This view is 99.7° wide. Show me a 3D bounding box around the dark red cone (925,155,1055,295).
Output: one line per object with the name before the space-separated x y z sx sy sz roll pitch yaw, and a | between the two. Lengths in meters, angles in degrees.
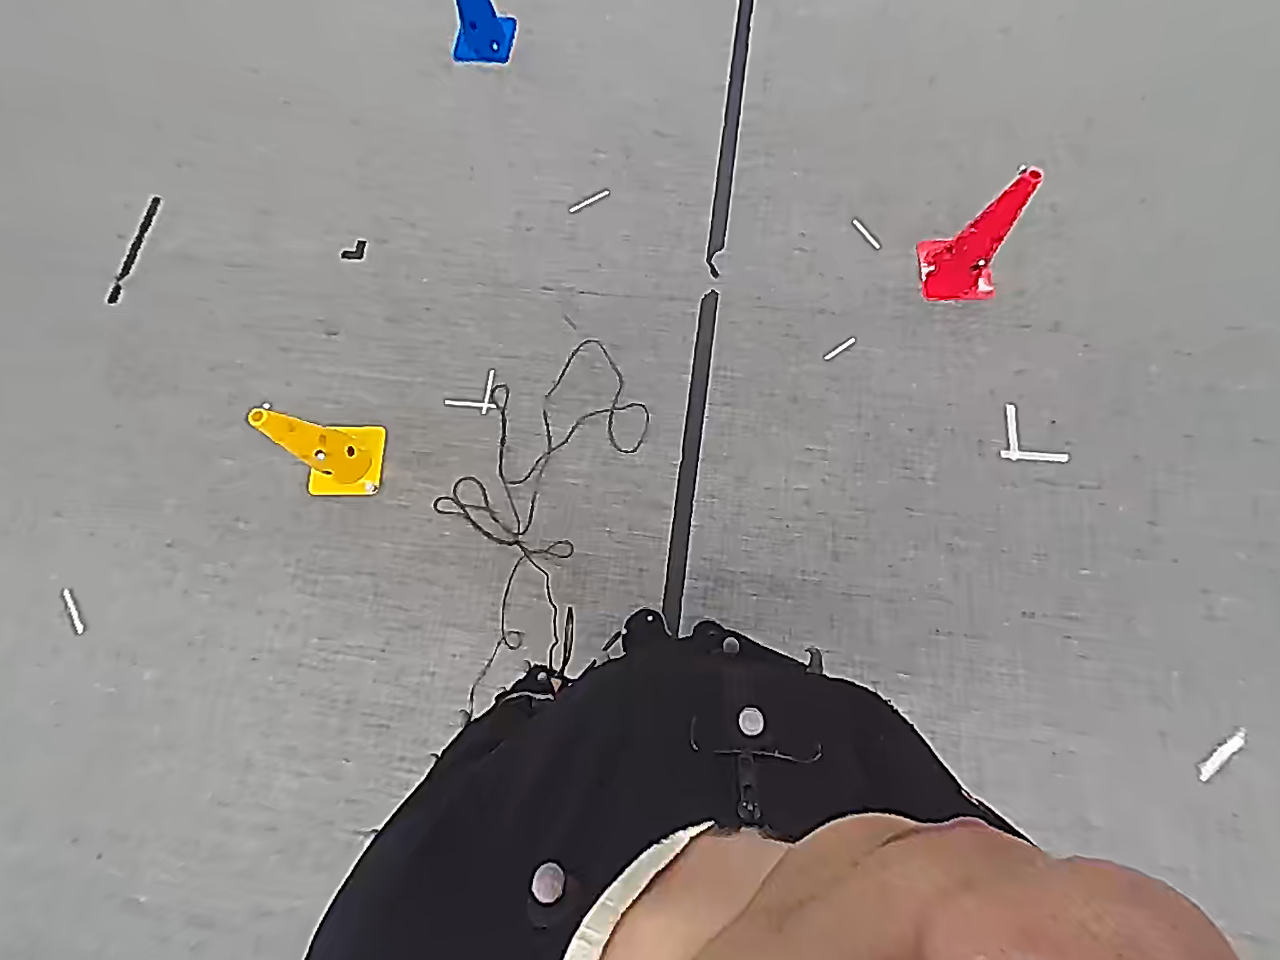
dark red cone | 0.912 -0.659 1.381 0.201 0.394 0.202 -1 76 3

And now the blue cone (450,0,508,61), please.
blue cone | -0.564 -1.562 1.705 0.192 0.380 0.193 7 76 5
